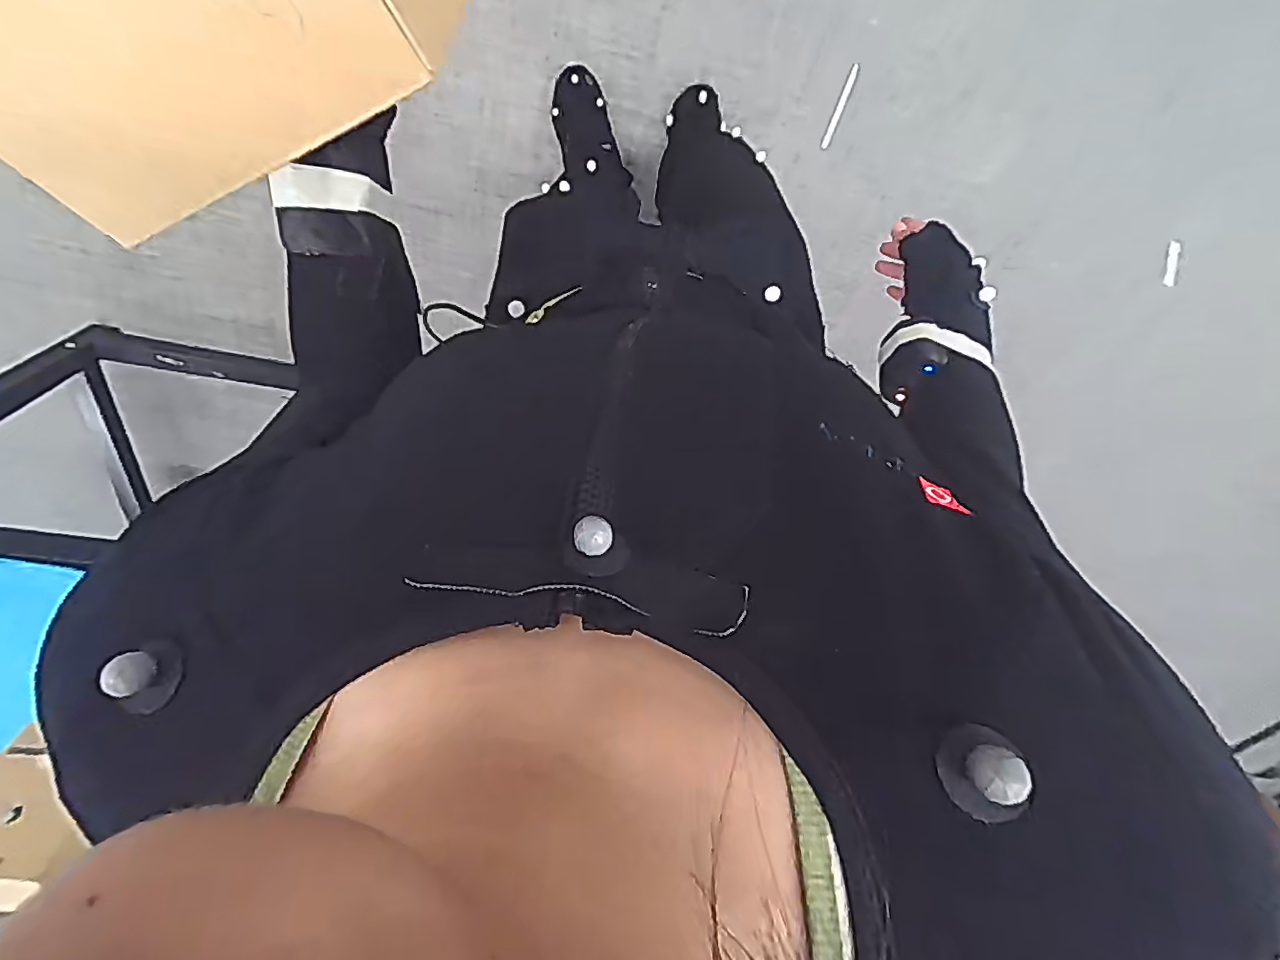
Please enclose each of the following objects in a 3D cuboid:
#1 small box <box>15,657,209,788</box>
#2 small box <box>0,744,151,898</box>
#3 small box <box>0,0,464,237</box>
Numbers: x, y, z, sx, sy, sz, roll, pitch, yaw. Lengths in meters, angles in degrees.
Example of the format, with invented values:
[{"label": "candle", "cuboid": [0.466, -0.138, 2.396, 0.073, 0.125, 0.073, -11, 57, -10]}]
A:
[{"label": "small box", "cuboid": [-0.956, 0.453, 0.997, 0.179, 0.176, 0.168, 10, 127, -11]}, {"label": "small box", "cuboid": [-0.952, 0.550, 0.865, 0.168, 0.176, 0.179, 12, 130, -11]}, {"label": "small box", "cuboid": [-0.176, -0.234, 0.193, 0.168, 0.176, 0.179, -15, 144, 16]}]
